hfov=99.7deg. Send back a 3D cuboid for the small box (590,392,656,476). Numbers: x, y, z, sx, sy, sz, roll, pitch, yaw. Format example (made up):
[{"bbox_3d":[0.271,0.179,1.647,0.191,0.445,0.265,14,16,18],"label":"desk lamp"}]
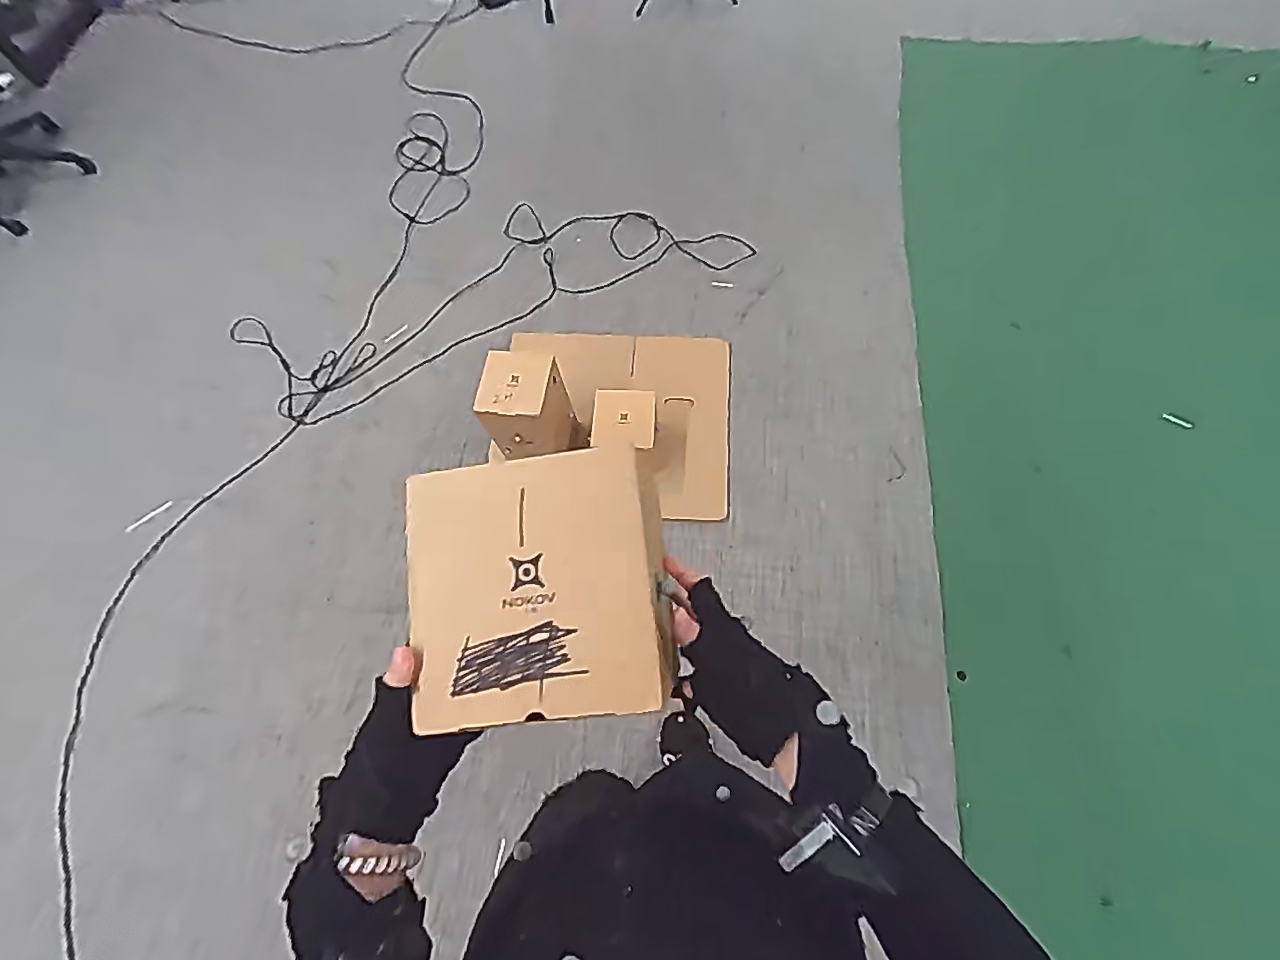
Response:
[{"bbox_3d":[-0.042,-0.126,1.497,0.168,0.176,0.179,2,68,3],"label":"small box"}]

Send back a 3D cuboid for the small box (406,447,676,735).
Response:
[{"bbox_3d":[-0.066,0.087,0.440,0.168,0.176,0.179,-9,77,6],"label":"small box"}]

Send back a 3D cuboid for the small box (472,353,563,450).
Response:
[{"bbox_3d":[-0.297,-0.195,1.360,0.168,0.176,0.179,5,68,7],"label":"small box"}]
